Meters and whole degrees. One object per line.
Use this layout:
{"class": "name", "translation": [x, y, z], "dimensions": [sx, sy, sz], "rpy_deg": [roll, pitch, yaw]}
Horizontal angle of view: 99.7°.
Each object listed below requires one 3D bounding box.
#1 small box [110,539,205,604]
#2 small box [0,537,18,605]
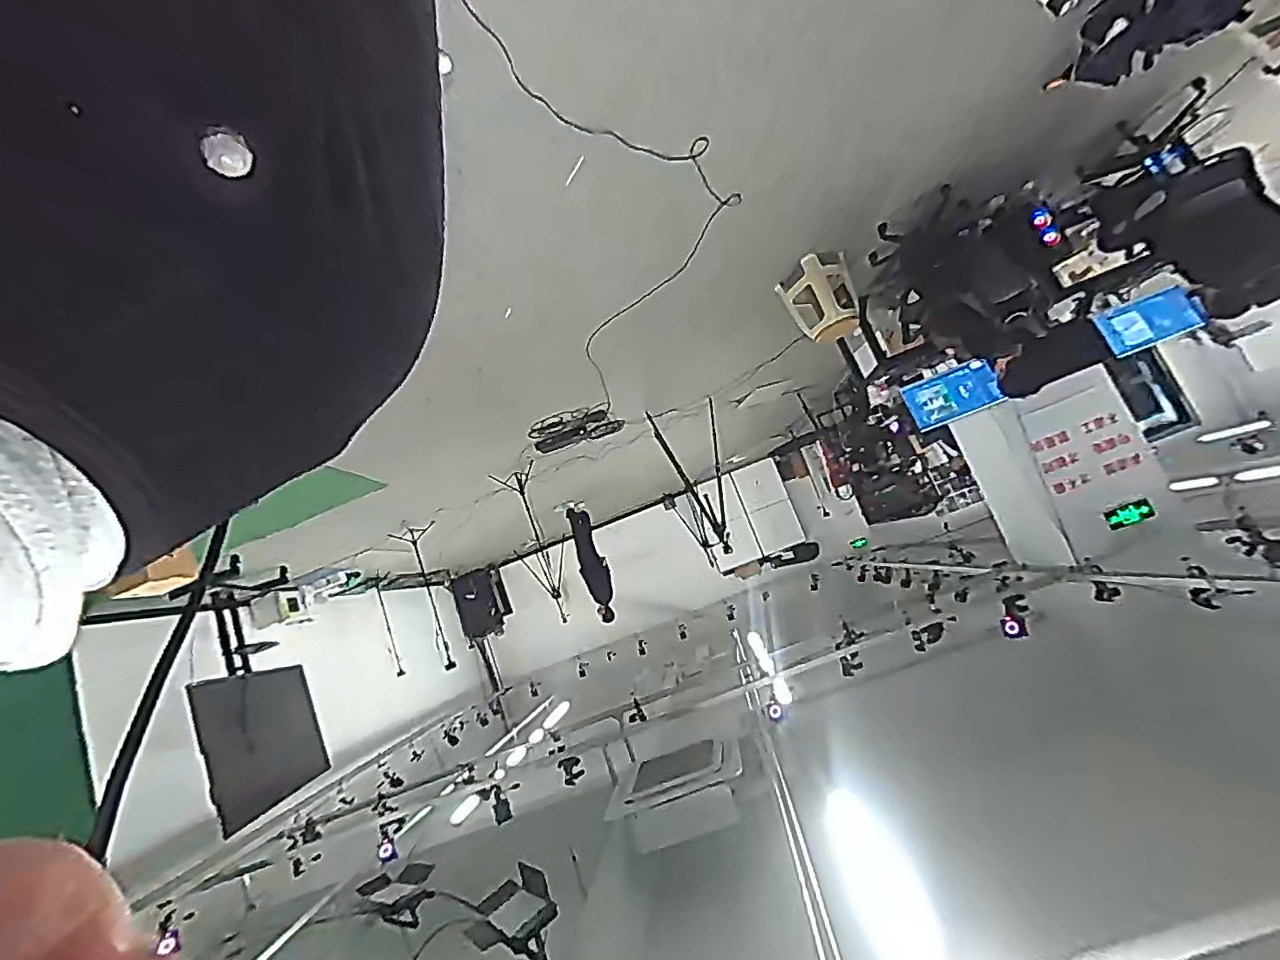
{"class": "small box", "translation": [-1.653, 0.307, 1.848], "dimensions": [0.179, 0.176, 0.168], "rpy_deg": [-24, 169, 9]}
{"class": "small box", "translation": [-1.744, 0.247, 1.360], "dimensions": [0.179, 0.176, 0.168], "rpy_deg": [-24, 170, 7]}
